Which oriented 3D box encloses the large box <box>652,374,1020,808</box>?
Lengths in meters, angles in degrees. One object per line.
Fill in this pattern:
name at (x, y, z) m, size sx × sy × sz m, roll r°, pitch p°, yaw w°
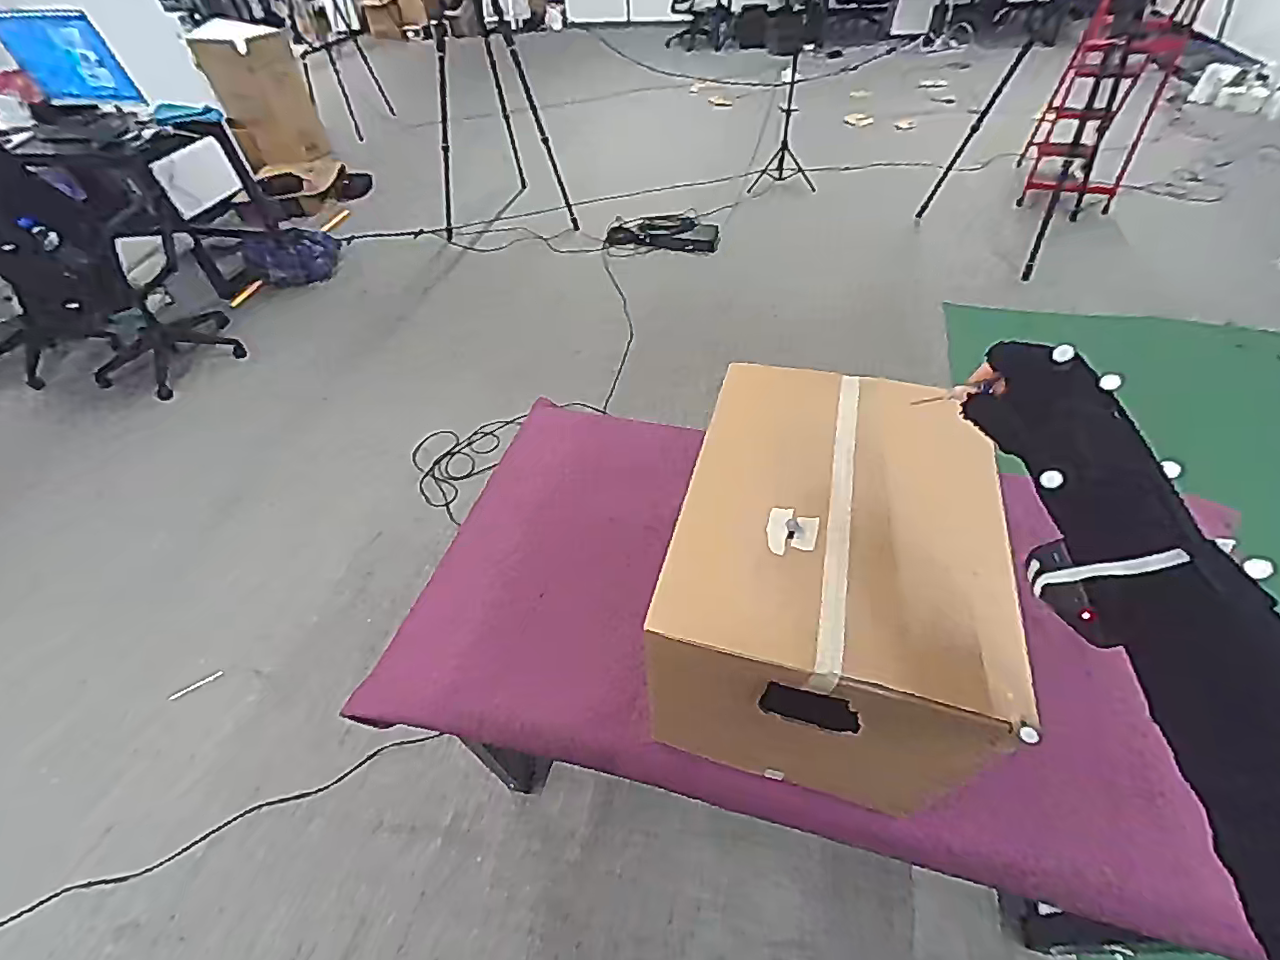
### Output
large box at (0.215, 0.126, 0.692) m, size 0.320 × 0.320 × 0.408 m, roll 11°, pitch 50°, yaw 14°
